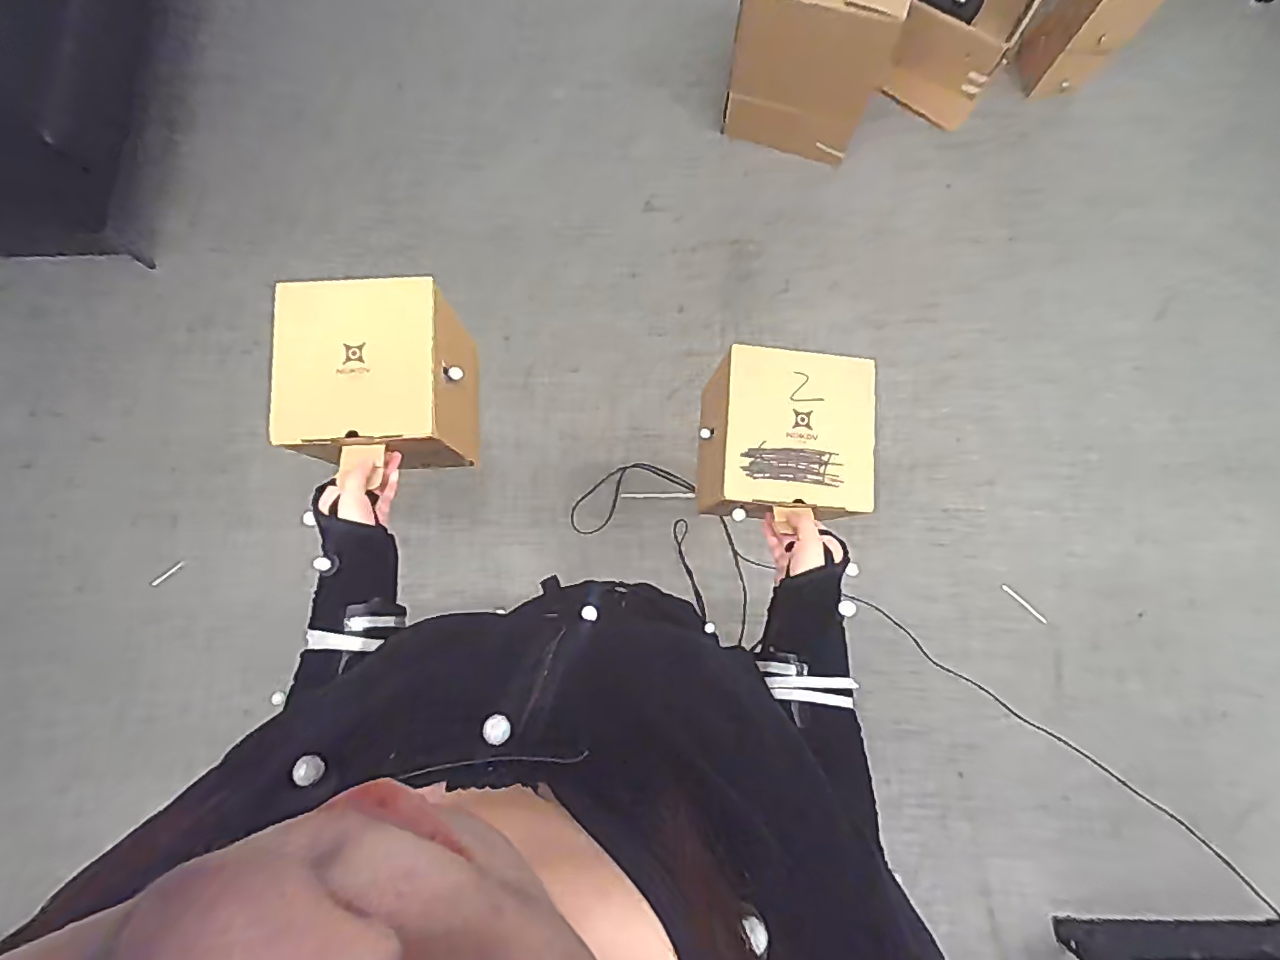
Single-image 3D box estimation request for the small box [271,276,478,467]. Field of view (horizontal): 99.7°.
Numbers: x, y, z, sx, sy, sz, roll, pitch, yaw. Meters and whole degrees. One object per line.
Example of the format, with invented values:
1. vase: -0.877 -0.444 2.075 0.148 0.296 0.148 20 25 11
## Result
1. small box: -0.294 -0.116 0.635 0.168 0.176 0.179 -3 83 -2
